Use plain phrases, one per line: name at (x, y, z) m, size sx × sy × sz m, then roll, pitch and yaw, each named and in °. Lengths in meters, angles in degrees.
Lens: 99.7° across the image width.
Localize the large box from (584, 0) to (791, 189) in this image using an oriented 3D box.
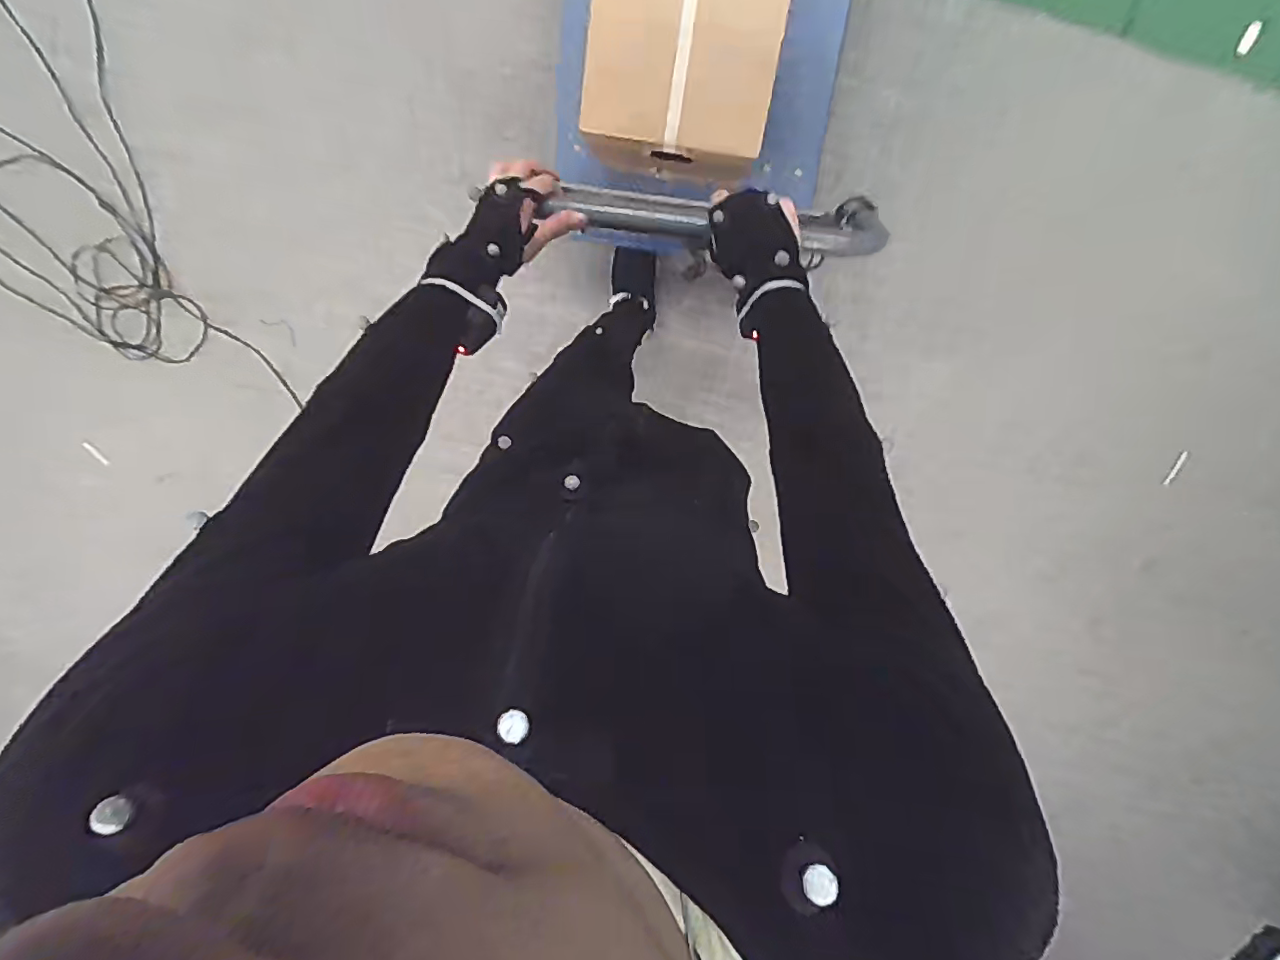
large box at (0.092, -0.803, 1.002) m, size 0.320 × 0.320 × 0.408 m, roll 10°, pitch 110°, yaw 0°
